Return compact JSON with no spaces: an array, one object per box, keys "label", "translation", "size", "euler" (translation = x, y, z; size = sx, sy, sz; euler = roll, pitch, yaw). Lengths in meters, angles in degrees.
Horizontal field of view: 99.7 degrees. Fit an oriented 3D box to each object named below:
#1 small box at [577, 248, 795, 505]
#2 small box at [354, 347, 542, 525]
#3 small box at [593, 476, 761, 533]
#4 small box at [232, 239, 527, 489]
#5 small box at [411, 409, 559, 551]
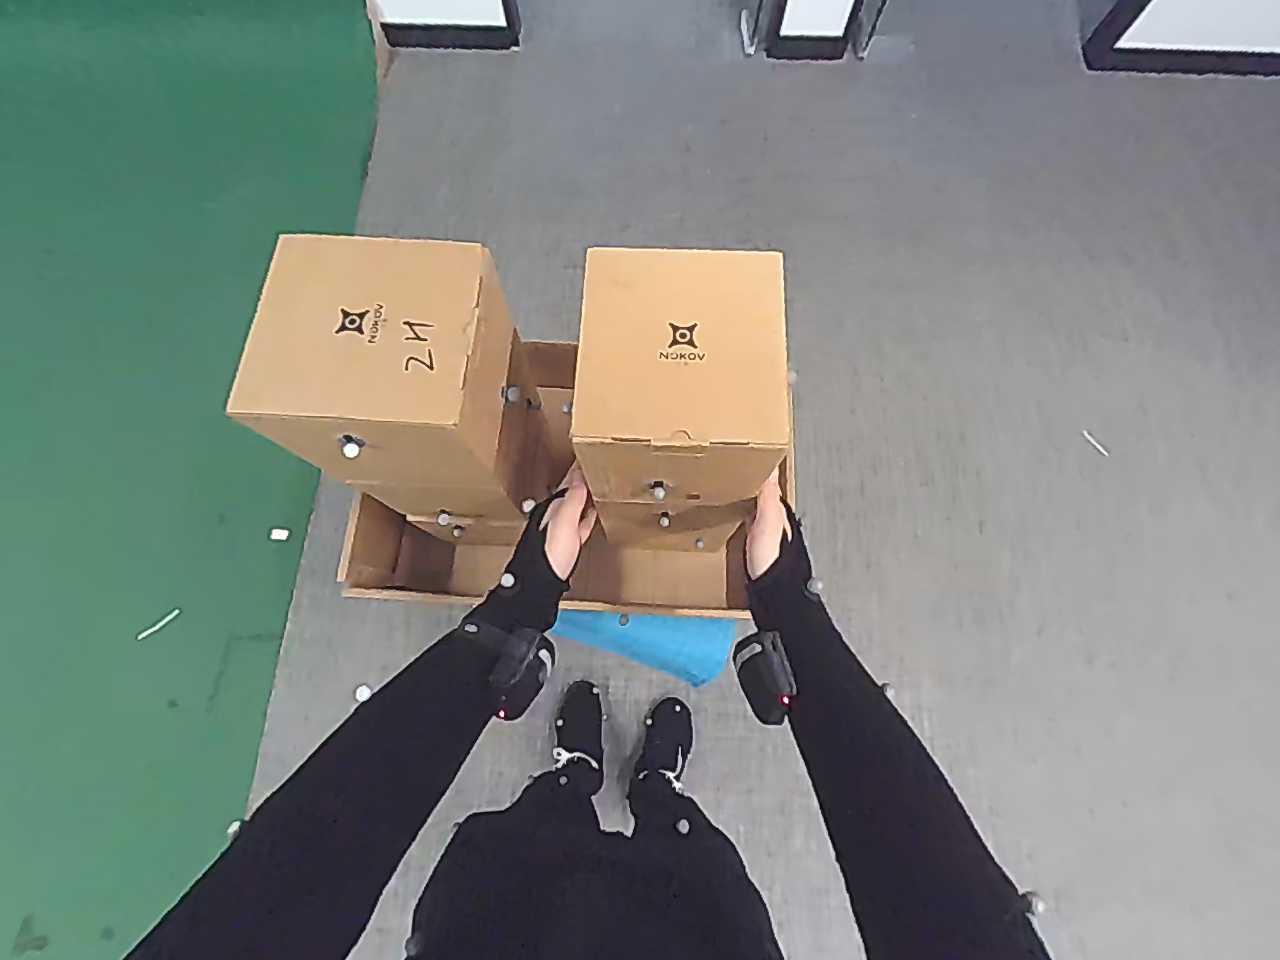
[{"label":"small box","translation":[0.038,-0.085,0.503],"size":[0.168,0.176,0.179],"euler":[2,73,1]},{"label":"small box","translation":[-0.218,-0.051,0.663],"size":[0.168,0.176,0.179],"euler":[3,73,0]},{"label":"small box","translation":[0.043,-0.034,0.657],"size":[0.179,0.176,0.168],"euler":[2,72,2]},{"label":"small box","translation":[-0.216,-0.095,0.505],"size":[0.179,0.176,0.168],"euler":[4,72,0]},{"label":"small box","translation":[-0.219,0.002,0.816],"size":[0.168,0.176,0.179],"euler":[3,72,1]}]
